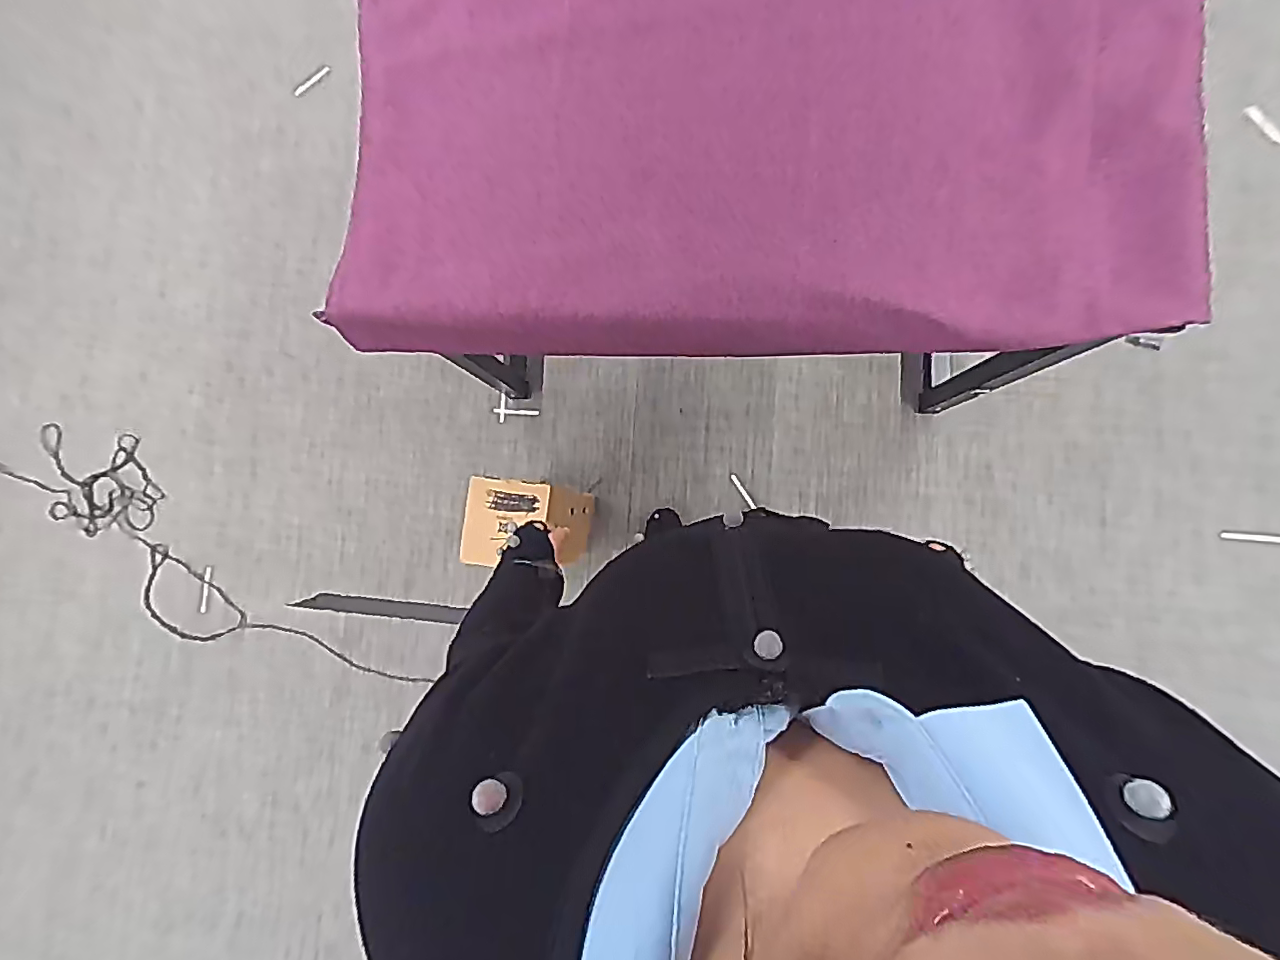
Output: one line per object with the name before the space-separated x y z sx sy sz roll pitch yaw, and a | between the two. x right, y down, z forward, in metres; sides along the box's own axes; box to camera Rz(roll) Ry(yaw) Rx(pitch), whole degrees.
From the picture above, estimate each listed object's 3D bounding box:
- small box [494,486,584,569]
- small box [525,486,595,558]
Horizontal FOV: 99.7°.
small box | -0.234 0.112 1.296 0.168 0.176 0.179 4 87 6
small box | -0.226 0.118 1.461 0.168 0.176 0.179 10 87 6
